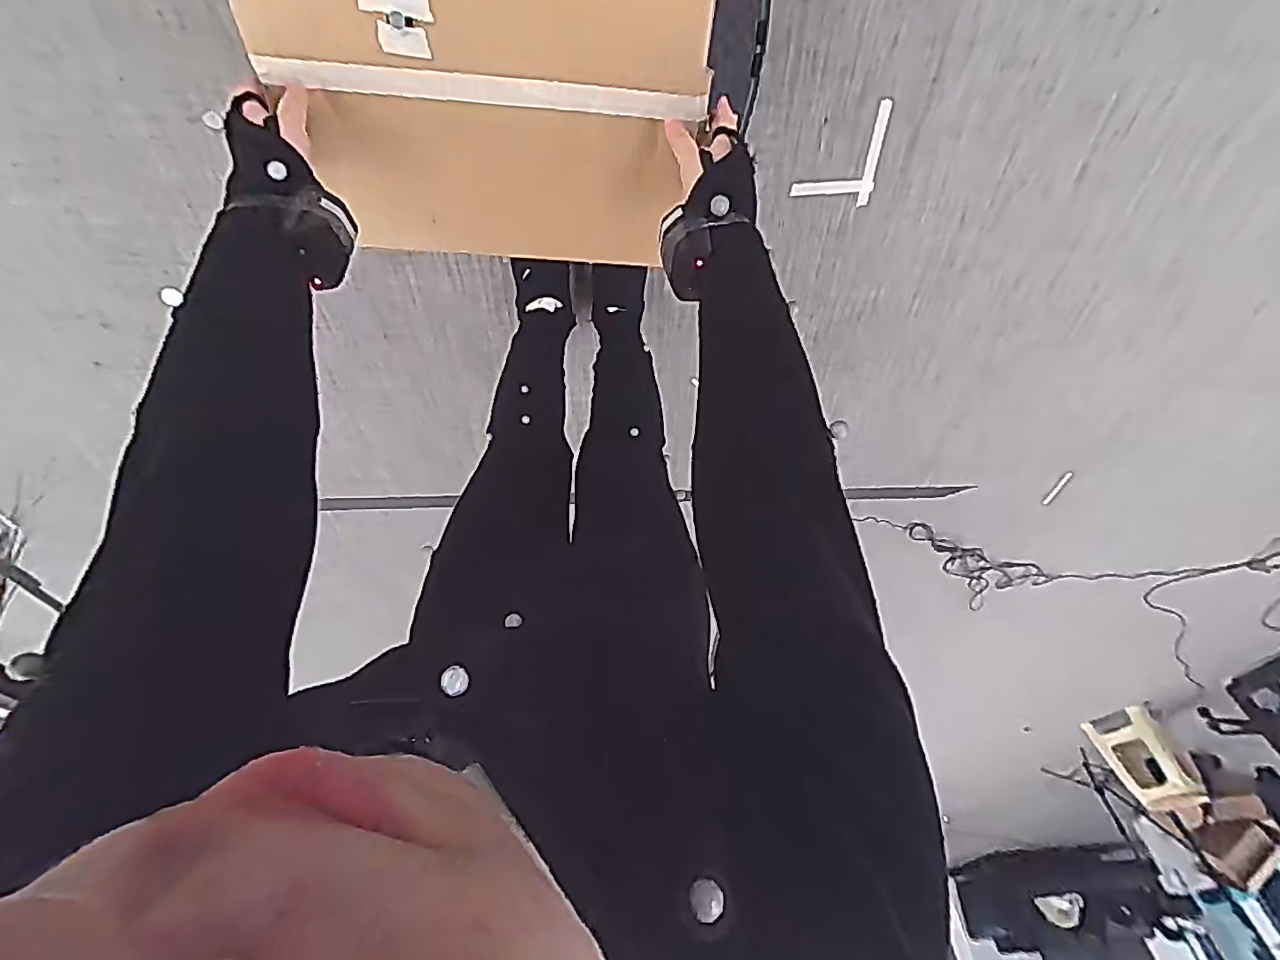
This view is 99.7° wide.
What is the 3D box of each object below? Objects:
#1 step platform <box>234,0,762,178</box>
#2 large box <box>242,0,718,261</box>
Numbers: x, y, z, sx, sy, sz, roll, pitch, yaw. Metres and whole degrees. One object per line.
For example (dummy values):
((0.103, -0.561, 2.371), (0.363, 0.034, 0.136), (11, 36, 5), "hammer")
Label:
((-0.178, -0.635, 0.765), (0.684, 0.204, 0.286), (4, 135, -6), "step platform")
((-0.140, -0.468, 0.597), (0.408, 0.320, 0.320), (2, 134, -5), "large box")
